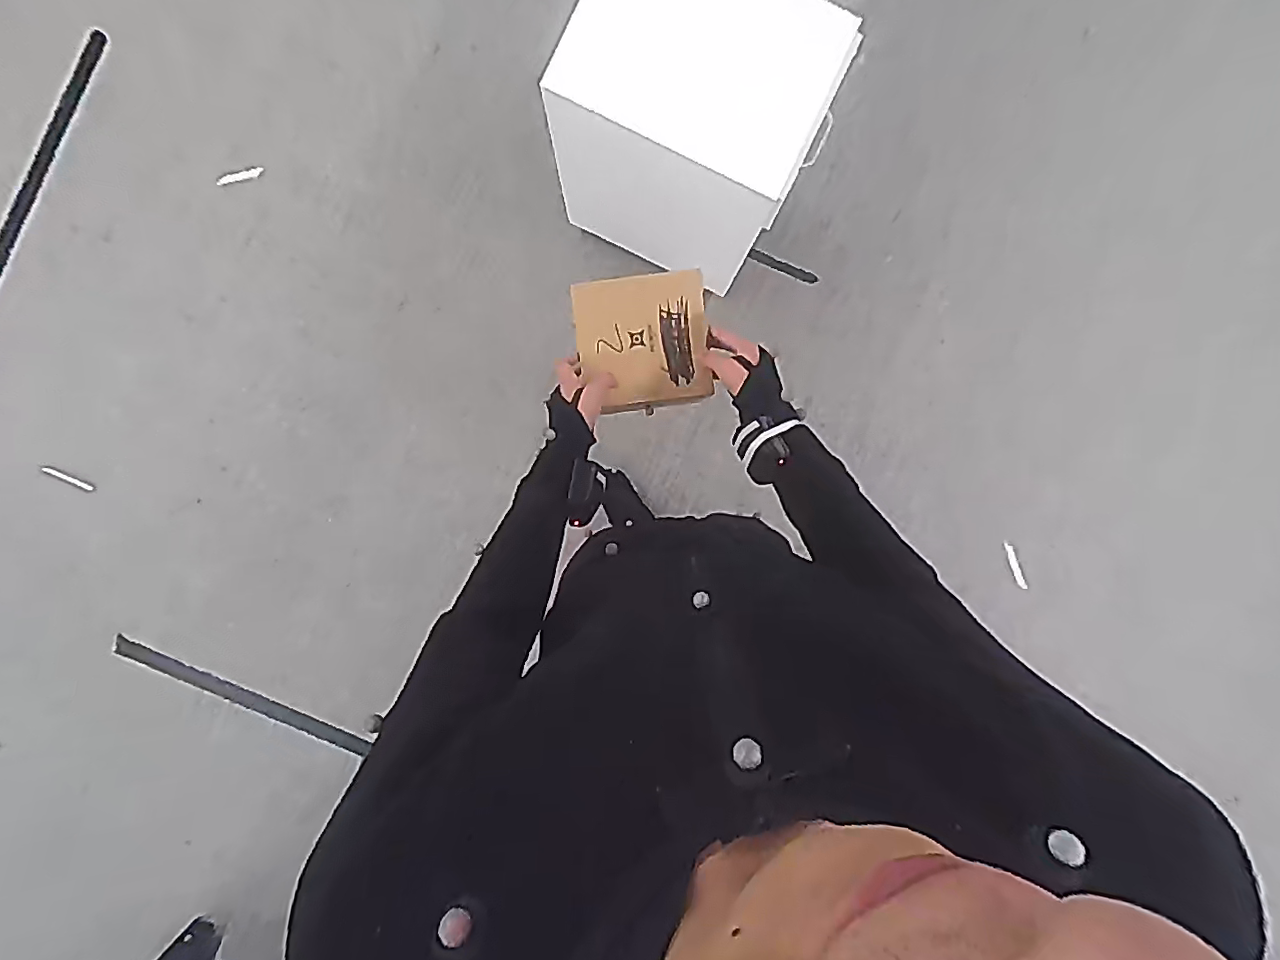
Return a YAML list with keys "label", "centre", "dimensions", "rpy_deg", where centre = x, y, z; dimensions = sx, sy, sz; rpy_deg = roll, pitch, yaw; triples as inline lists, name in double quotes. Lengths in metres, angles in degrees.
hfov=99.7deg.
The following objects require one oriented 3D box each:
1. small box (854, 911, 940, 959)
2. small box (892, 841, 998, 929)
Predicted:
- label: "small box"
  centre: [0.771, 1.434, 1.596]
  dimensions: [0.179, 0.176, 0.168]
  rpy_deg: [24, 89, -2]
- label: "small box"
  centre: [0.892, 1.219, 1.596]
  dimensions: [0.179, 0.176, 0.168]
  rpy_deg: [29, 89, -2]
